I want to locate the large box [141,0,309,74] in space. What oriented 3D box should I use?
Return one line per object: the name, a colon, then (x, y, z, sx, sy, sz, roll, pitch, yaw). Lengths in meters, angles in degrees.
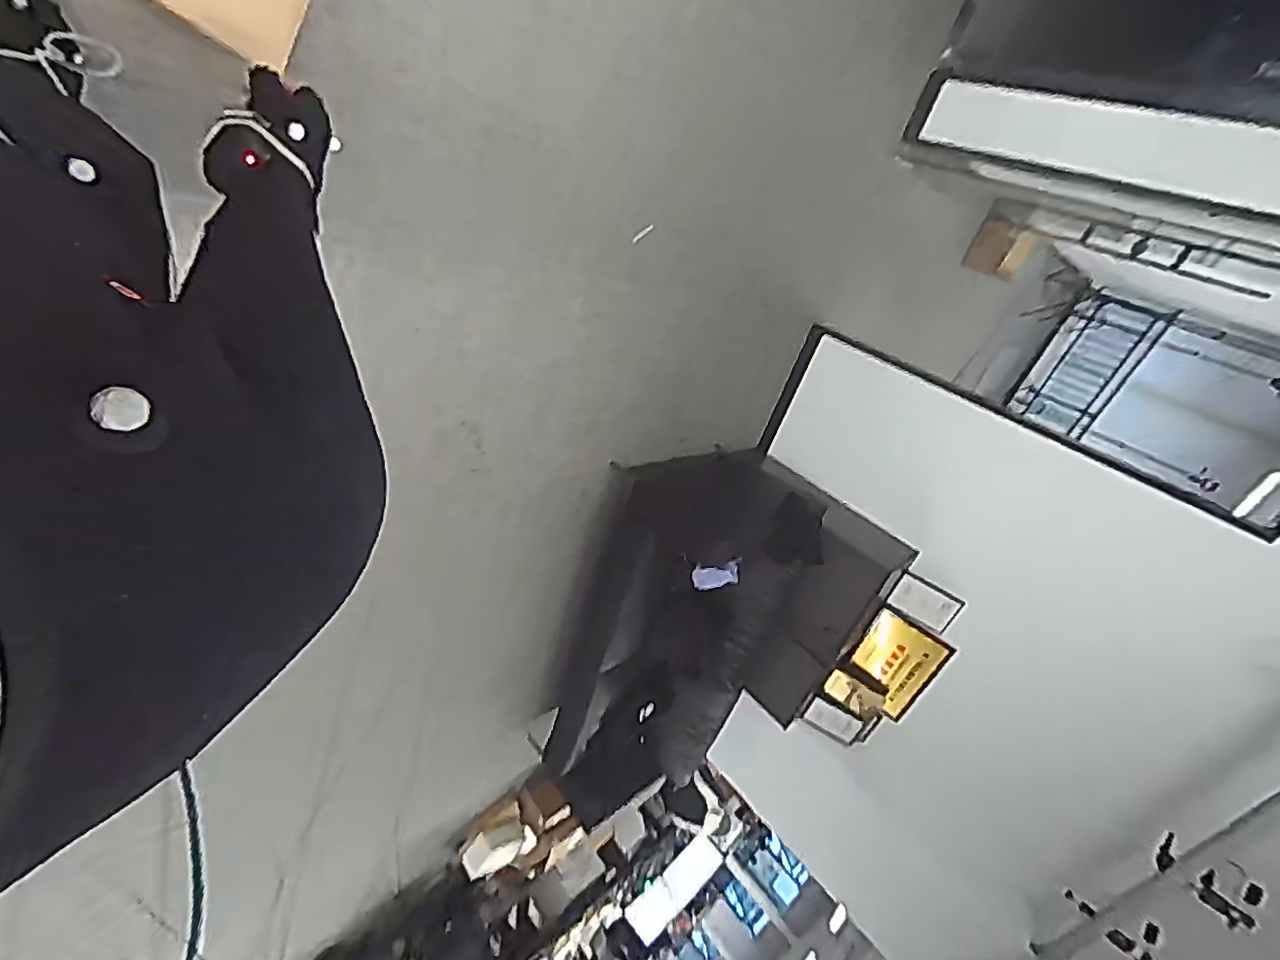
large box: (-0.710, -0.869, 0.744, 0.408, 0.320, 0.320, 10, 115, -55)
